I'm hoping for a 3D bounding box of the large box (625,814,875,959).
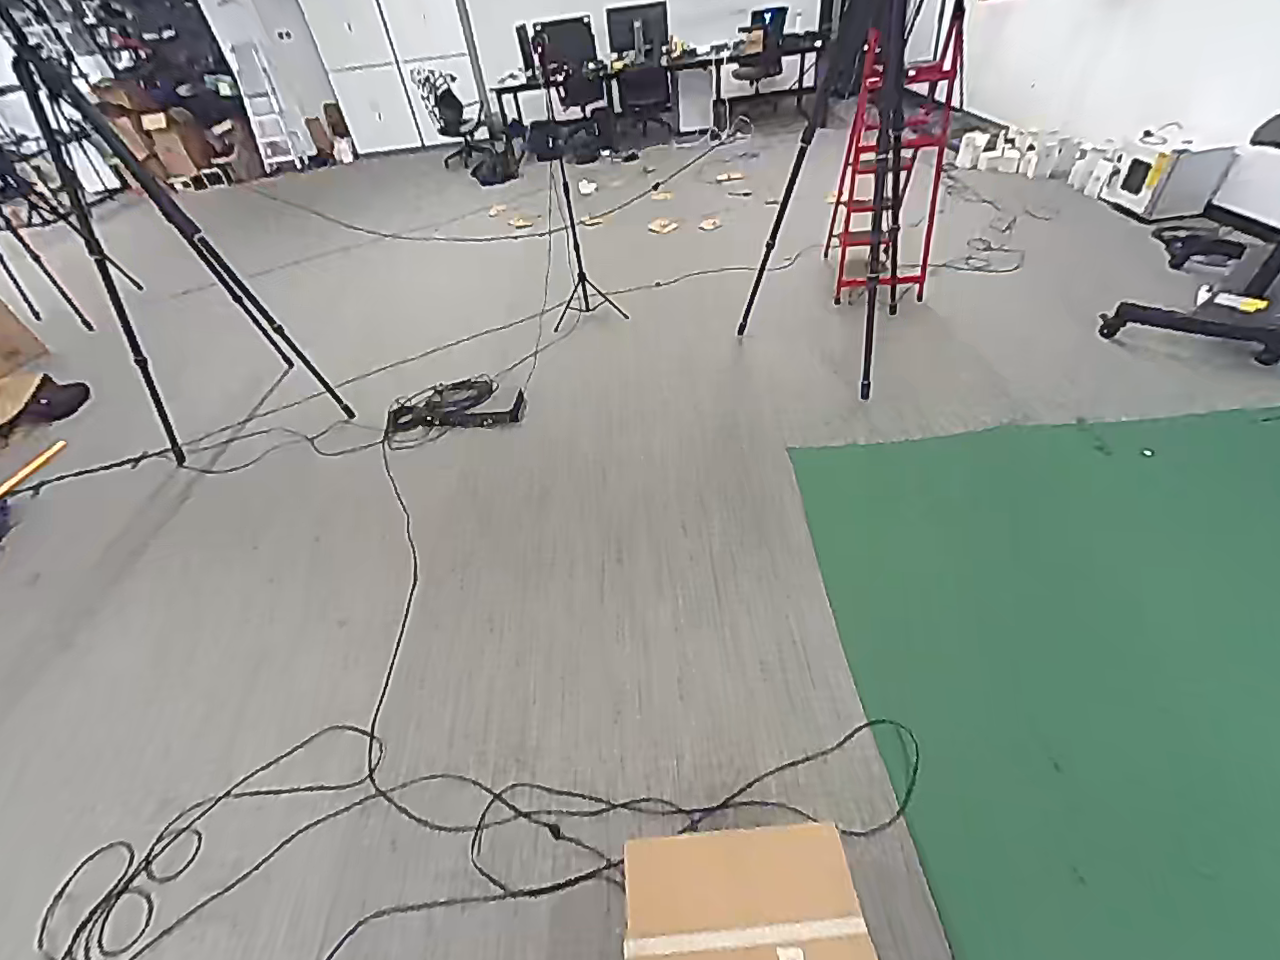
[{"bbox_3d":[0.188,0.868,1.016,0.408,0.320,0.320,-5,44,0],"label":"large box"}]
